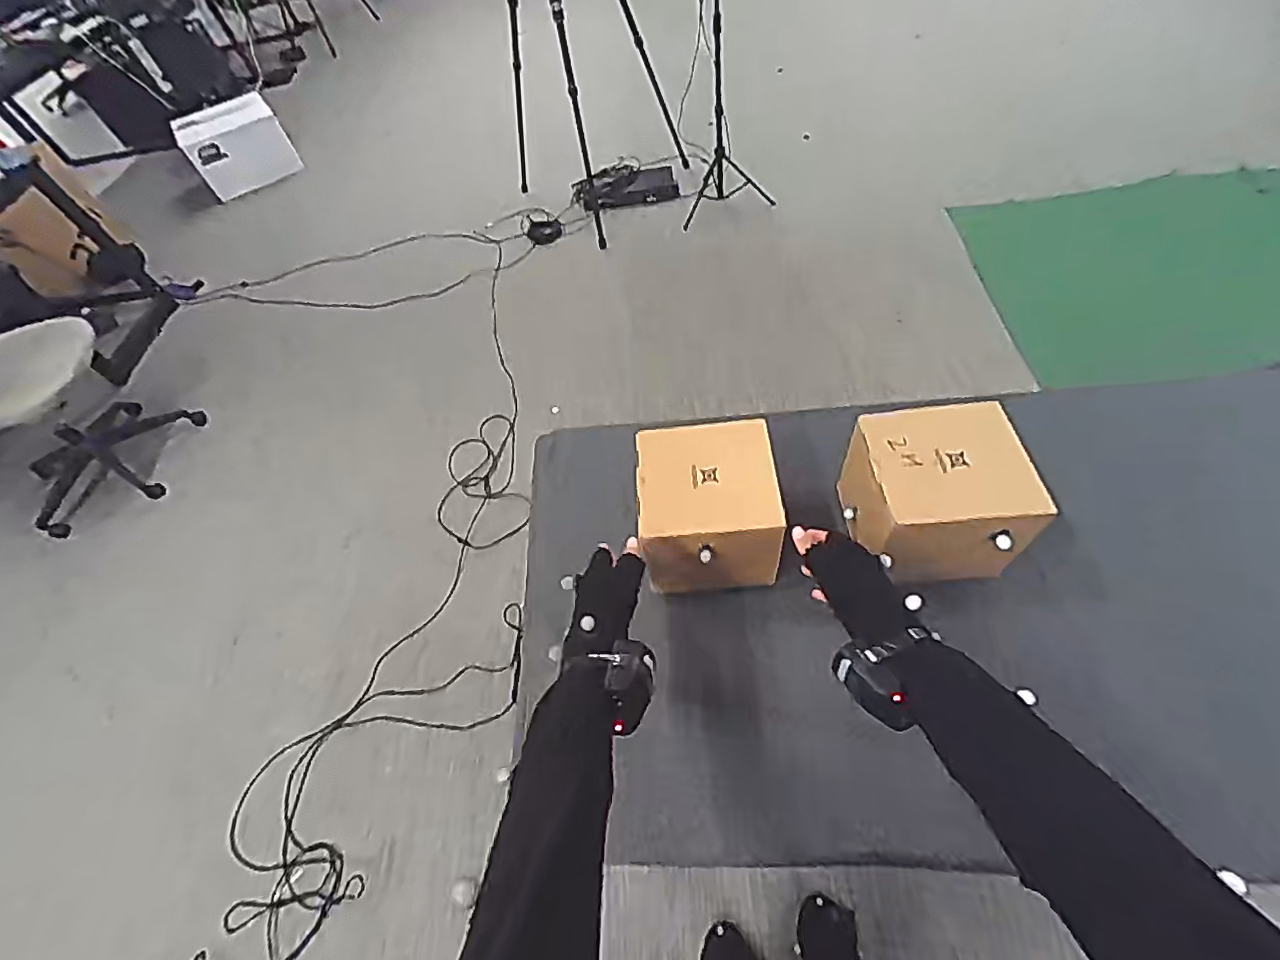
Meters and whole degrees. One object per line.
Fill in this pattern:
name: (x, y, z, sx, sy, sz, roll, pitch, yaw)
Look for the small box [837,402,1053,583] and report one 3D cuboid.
small box: (0.373, 0.022, 0.702, 0.179, 0.176, 0.168, -6, 55, 6)
